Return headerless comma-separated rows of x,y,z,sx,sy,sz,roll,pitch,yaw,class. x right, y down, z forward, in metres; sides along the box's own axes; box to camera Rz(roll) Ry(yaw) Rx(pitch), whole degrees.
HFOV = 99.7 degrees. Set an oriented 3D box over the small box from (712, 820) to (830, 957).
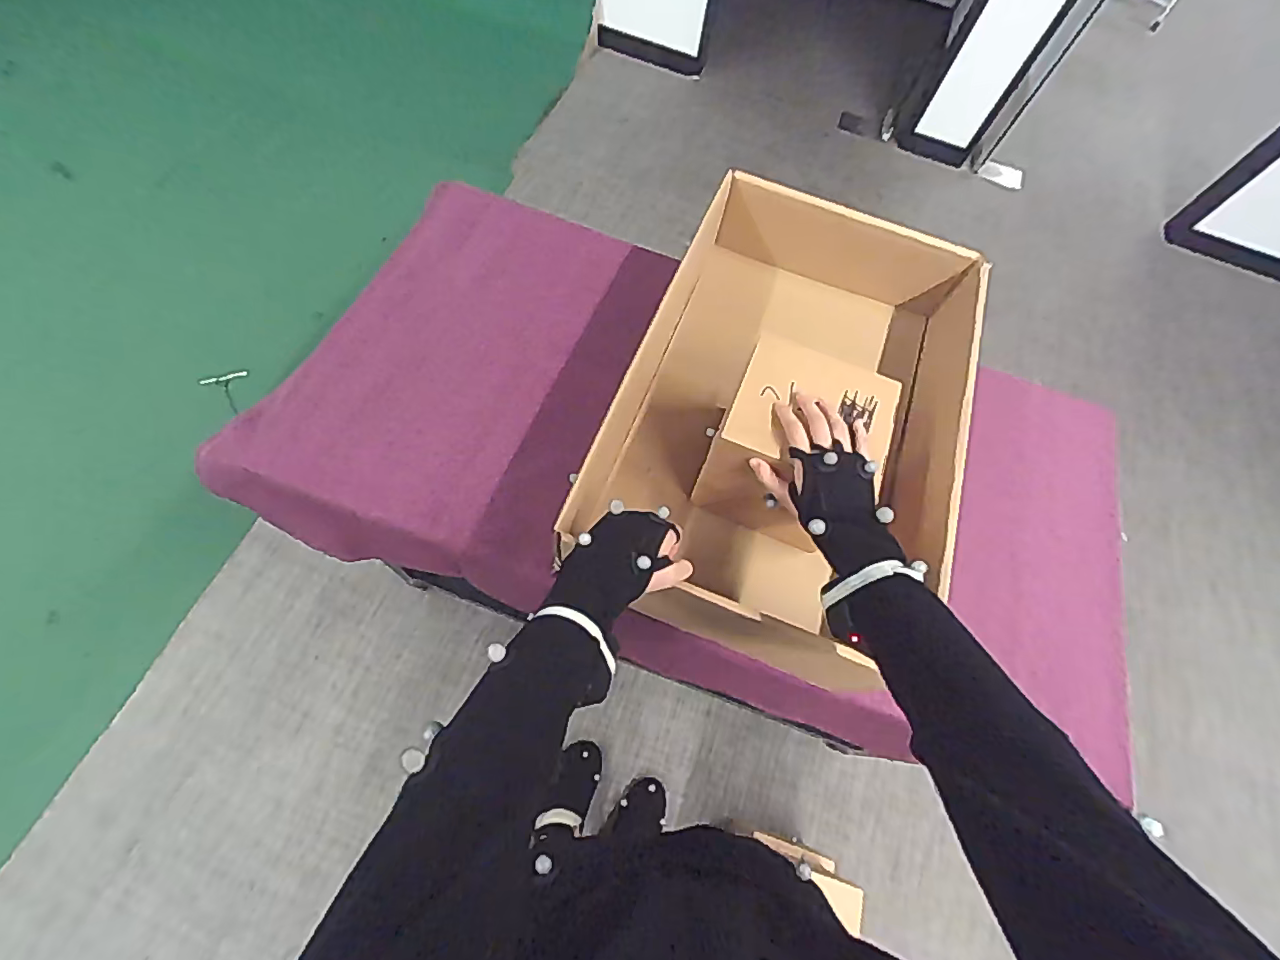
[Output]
0.271,0.844,1.139,0.179,0.176,0.168,20,65,3,small box
